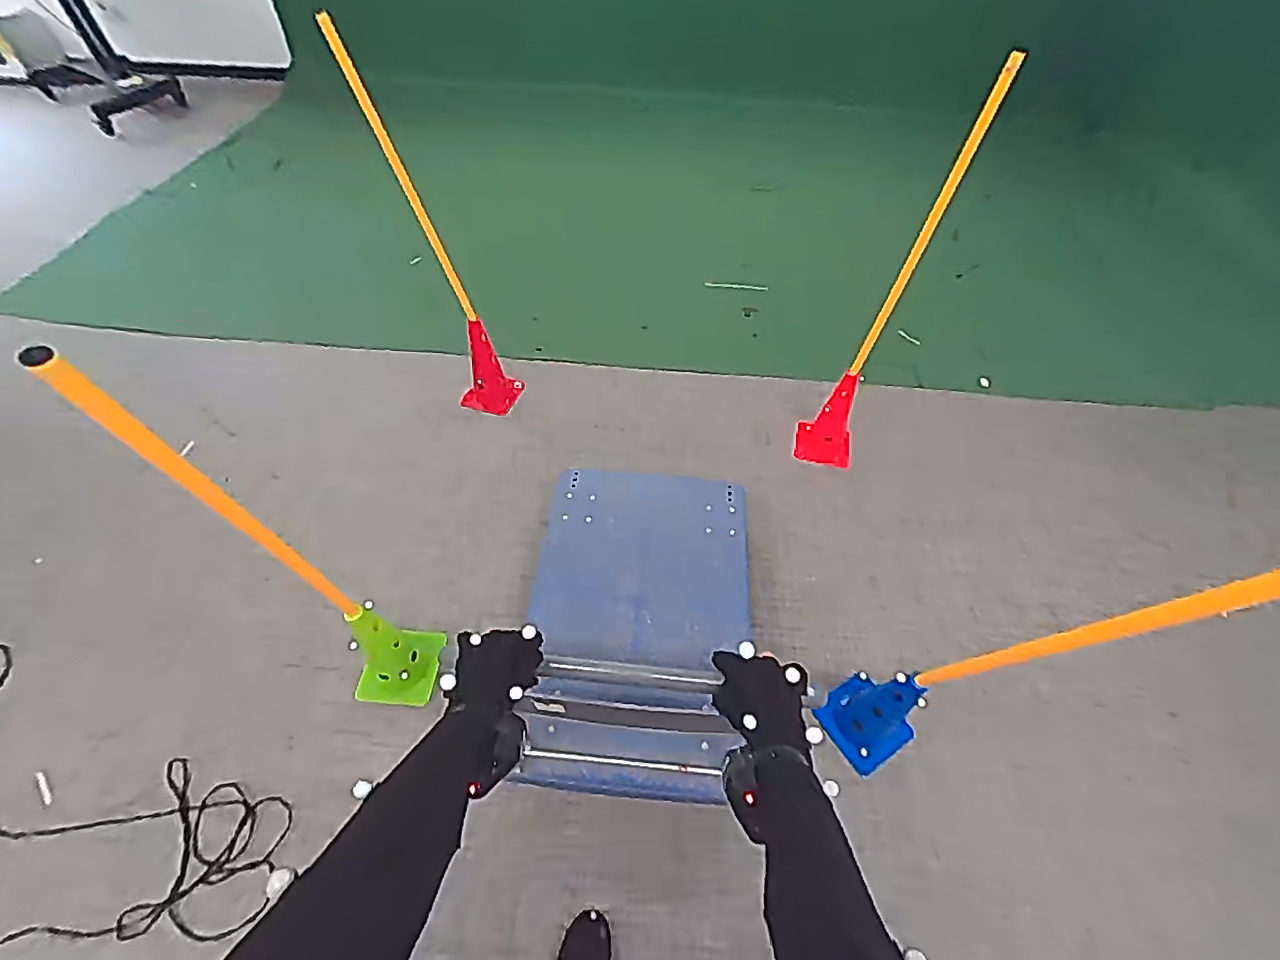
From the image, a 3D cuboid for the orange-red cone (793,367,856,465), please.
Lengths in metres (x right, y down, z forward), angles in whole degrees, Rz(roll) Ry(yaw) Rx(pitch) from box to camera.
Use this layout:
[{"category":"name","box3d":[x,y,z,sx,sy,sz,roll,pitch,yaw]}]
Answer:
[{"category":"orange-red cone","box3d":[0.682,-0.246,1.888,0.198,0.360,0.199,13,54,9]}]
